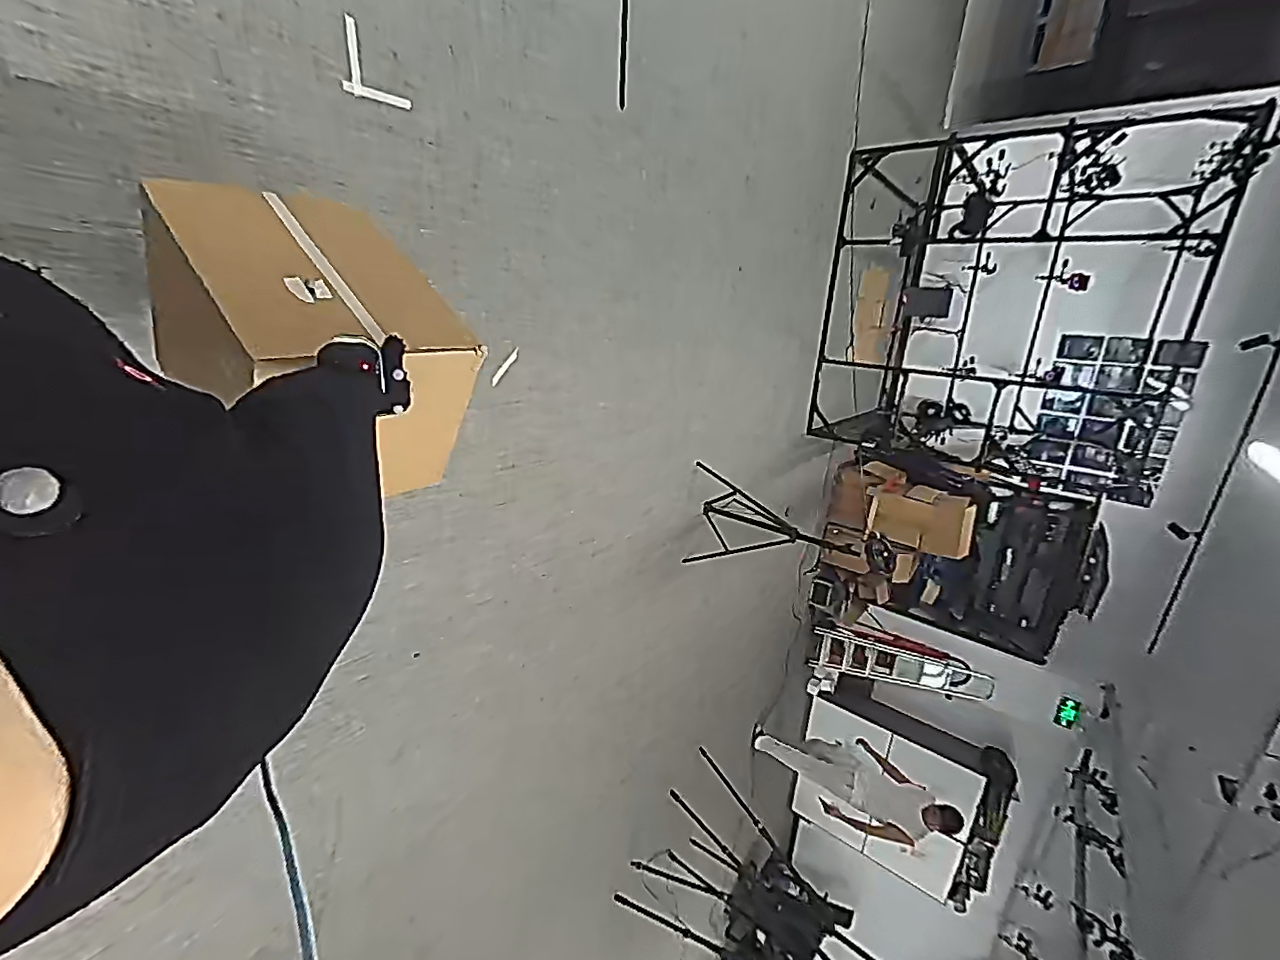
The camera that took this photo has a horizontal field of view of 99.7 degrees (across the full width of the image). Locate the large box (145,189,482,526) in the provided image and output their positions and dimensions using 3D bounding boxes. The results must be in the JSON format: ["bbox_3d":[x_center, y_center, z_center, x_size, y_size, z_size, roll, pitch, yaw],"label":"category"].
[{"bbox_3d":[-0.540,-0.199,0.891,0.320,0.408,0.320,-21,153,-48],"label":"large box"}]
